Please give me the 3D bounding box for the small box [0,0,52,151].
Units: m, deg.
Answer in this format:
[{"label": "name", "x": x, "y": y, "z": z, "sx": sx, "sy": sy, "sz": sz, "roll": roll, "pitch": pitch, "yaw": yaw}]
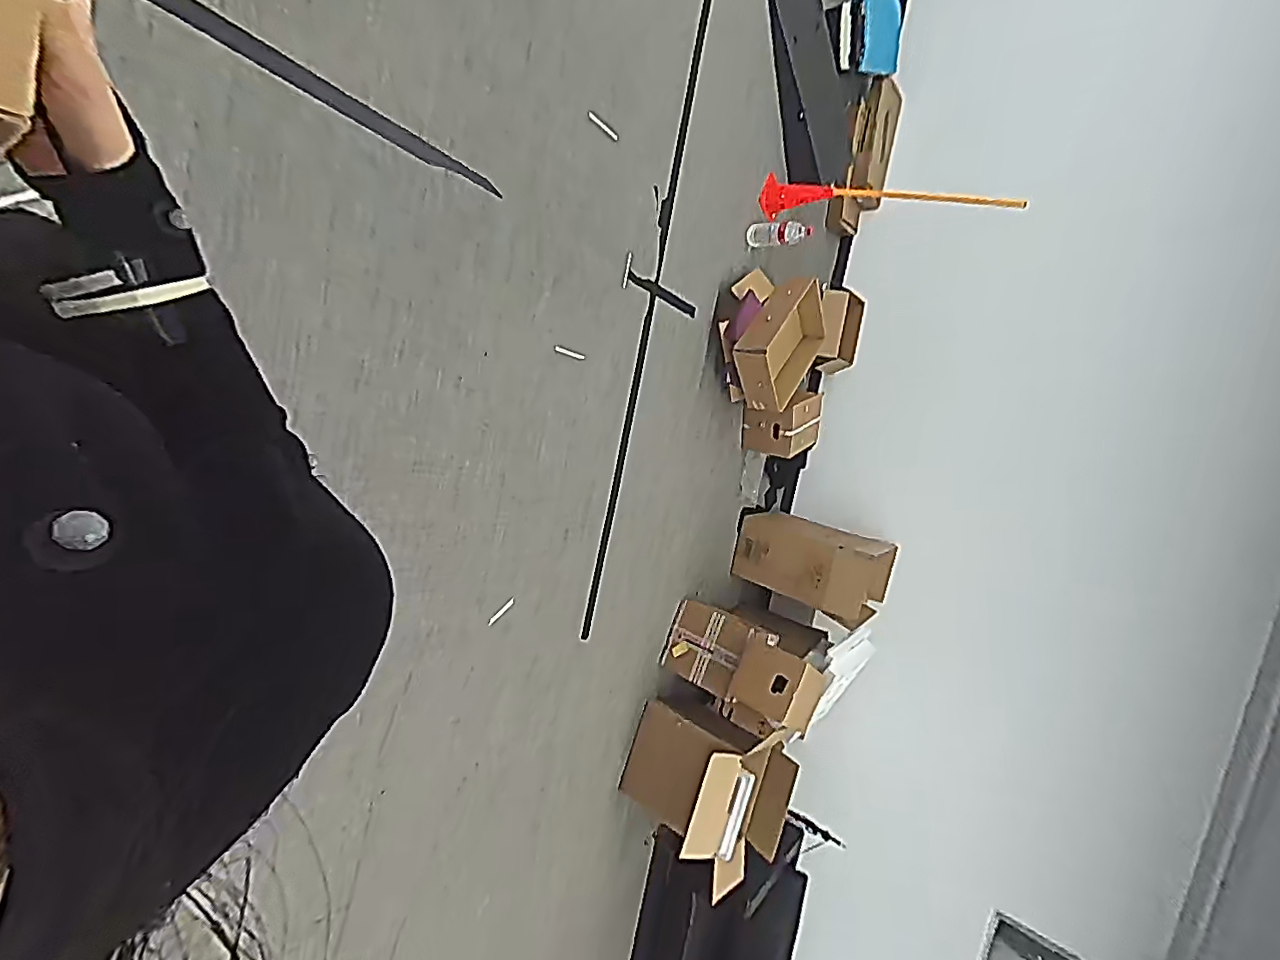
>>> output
[{"label": "small box", "x": -0.337, "y": -0.240, "z": 0.190, "sx": 0.168, "sy": 0.176, "sz": 0.179, "roll": 3, "pitch": 98, "yaw": -57}]
